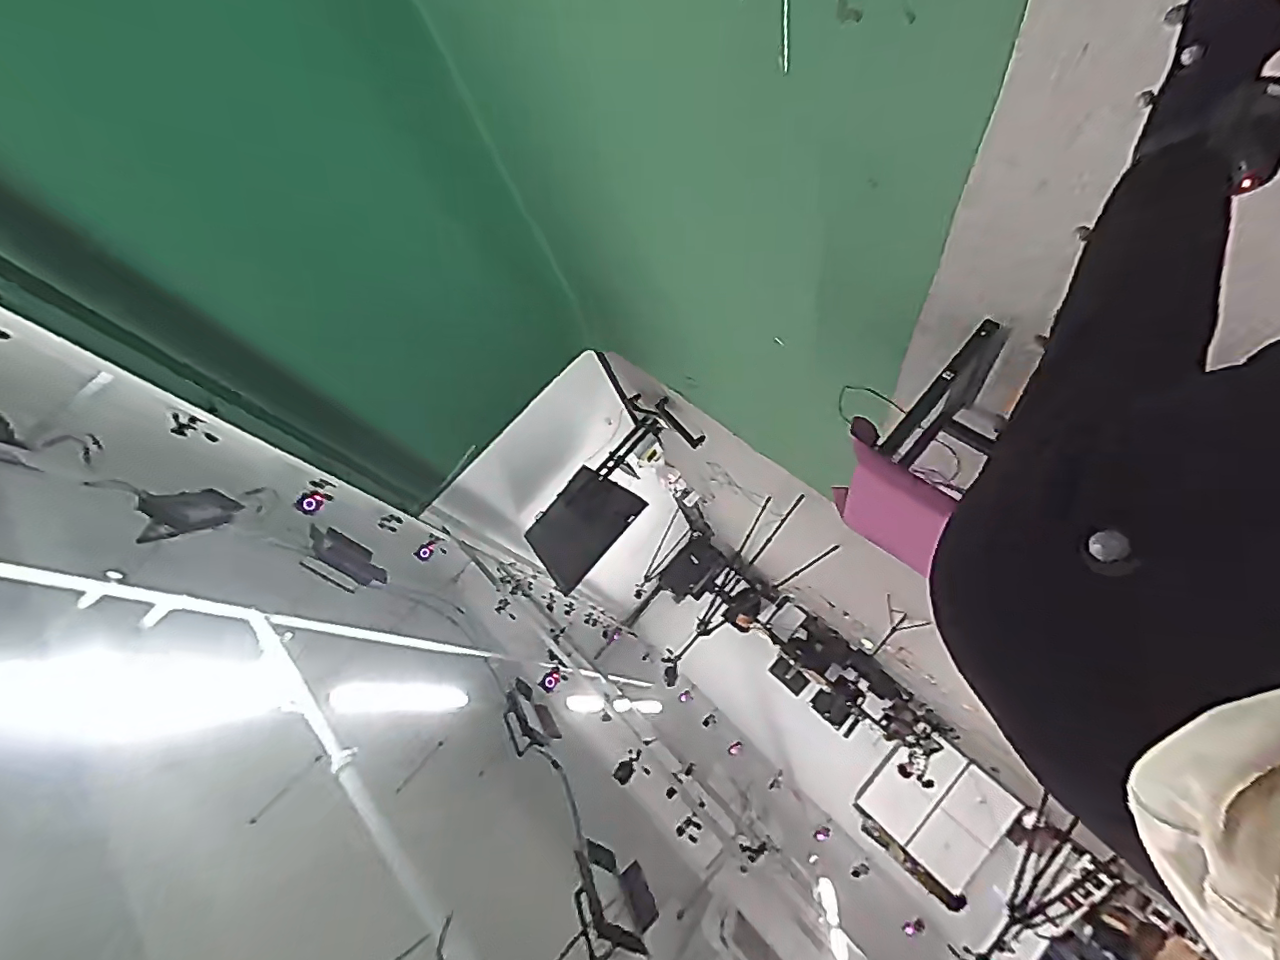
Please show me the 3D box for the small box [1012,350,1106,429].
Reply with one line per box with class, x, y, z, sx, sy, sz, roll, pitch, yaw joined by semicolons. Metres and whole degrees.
small box;1.420;-0.312;1.834;0.179;0.176;0.168;39;172;29
